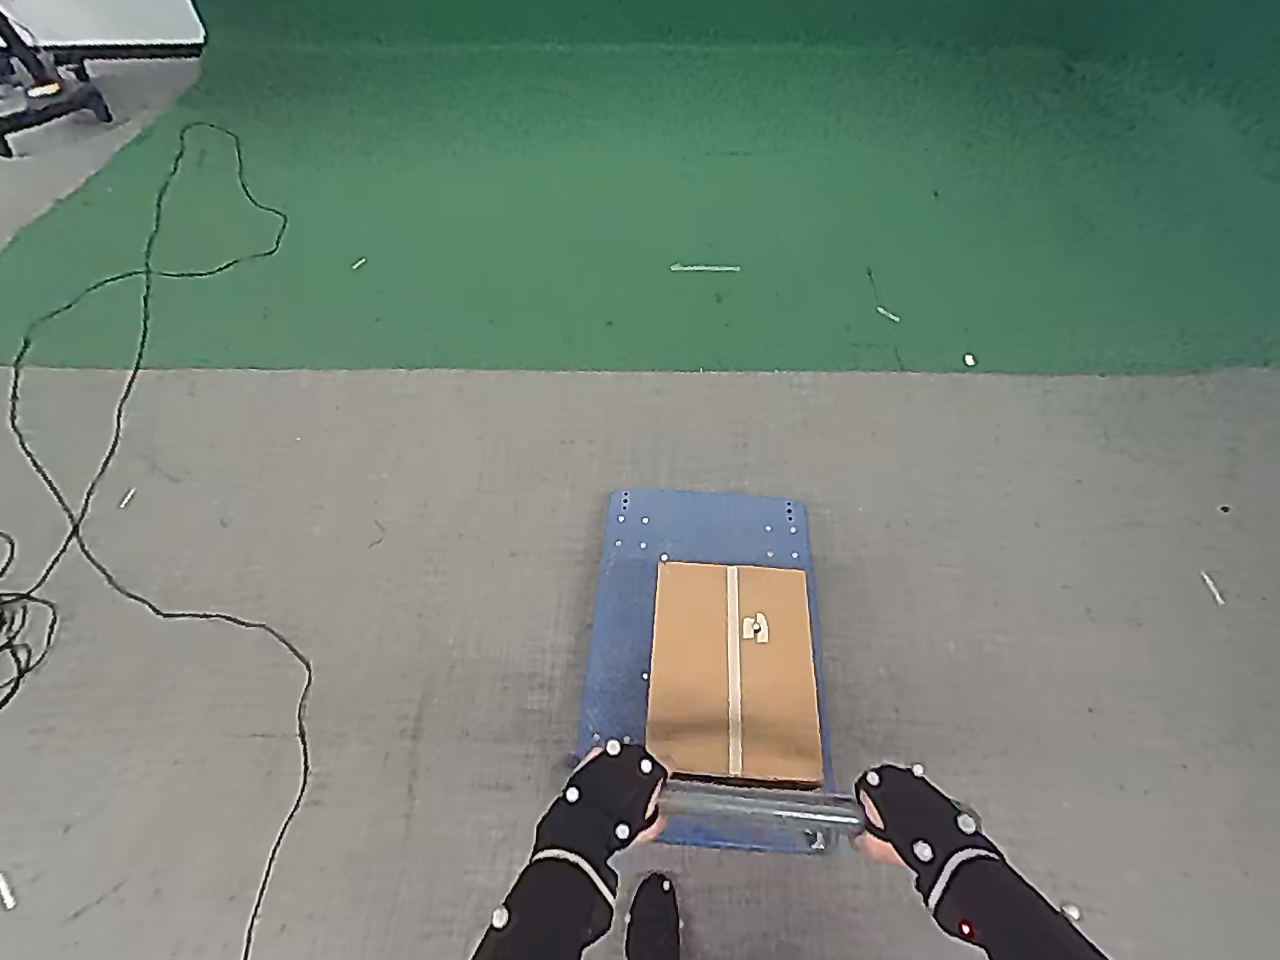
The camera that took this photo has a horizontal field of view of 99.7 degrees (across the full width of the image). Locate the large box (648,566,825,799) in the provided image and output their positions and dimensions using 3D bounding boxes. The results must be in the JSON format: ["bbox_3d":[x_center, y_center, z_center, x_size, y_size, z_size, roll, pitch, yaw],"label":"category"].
[{"bbox_3d":[0.181,0.442,1.171,0.320,0.320,0.408,4,55,2],"label":"large box"}]
